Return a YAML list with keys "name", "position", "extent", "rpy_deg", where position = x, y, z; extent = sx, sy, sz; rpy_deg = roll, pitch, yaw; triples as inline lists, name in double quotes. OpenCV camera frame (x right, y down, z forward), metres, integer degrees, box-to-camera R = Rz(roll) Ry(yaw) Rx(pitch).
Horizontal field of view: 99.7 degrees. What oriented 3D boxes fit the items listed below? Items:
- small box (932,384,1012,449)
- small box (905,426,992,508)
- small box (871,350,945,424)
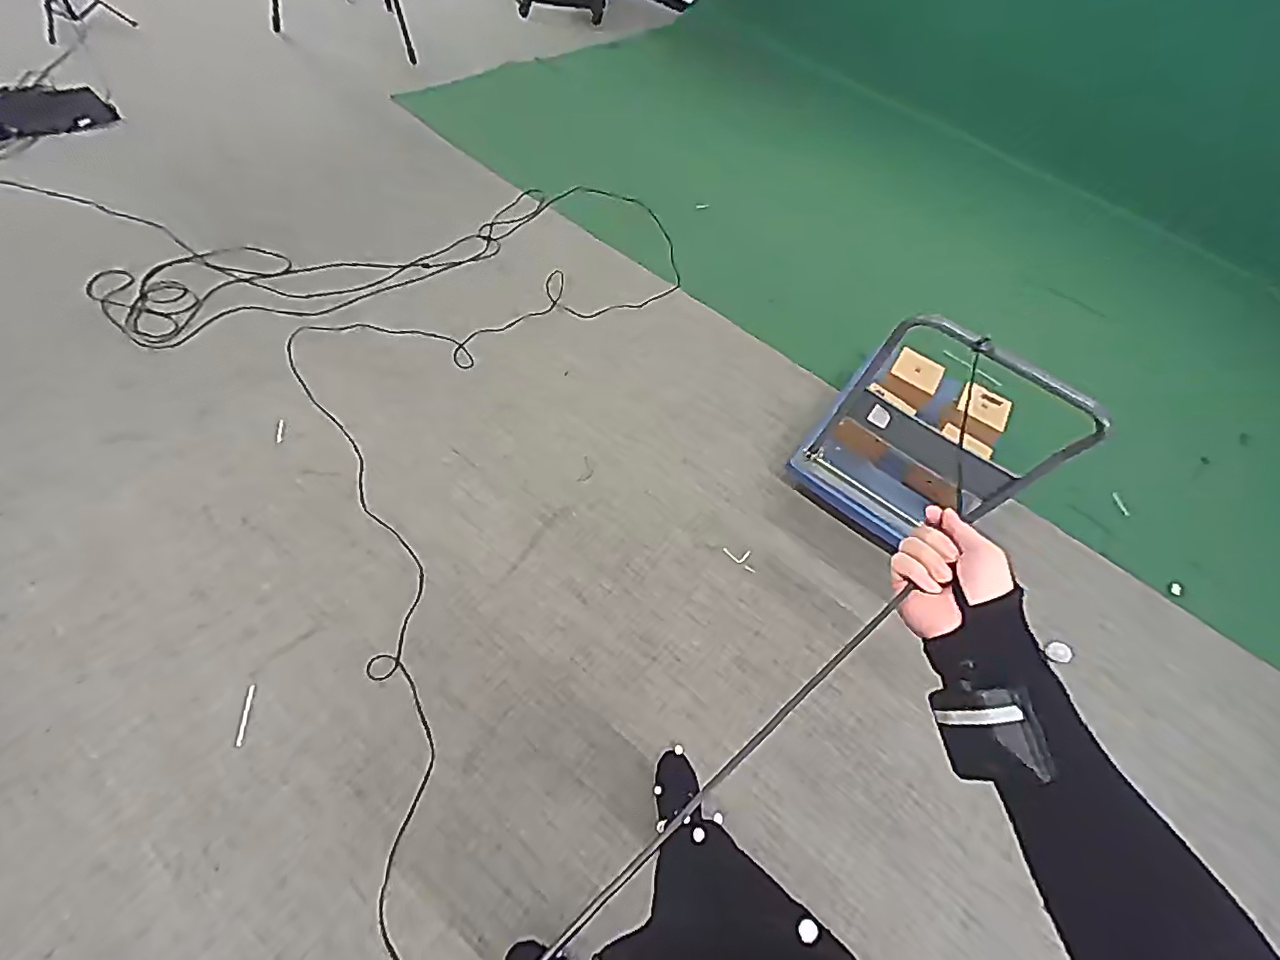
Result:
- name: "small box"
  position: [1.191, -0.205, 1.950]
  extent: [0.168, 0.176, 0.179]
  rpy_deg: [33, 58, 12]
- name: "small box"
  position: [1.027, -0.042, 1.811]
  extent: [0.168, 0.176, 0.179]
  rpy_deg: [38, 59, 14]
- name: "small box"
  position: [0.984, -0.340, 2.000]
  extent: [0.168, 0.176, 0.179]
  rpy_deg: [34, 57, 11]
